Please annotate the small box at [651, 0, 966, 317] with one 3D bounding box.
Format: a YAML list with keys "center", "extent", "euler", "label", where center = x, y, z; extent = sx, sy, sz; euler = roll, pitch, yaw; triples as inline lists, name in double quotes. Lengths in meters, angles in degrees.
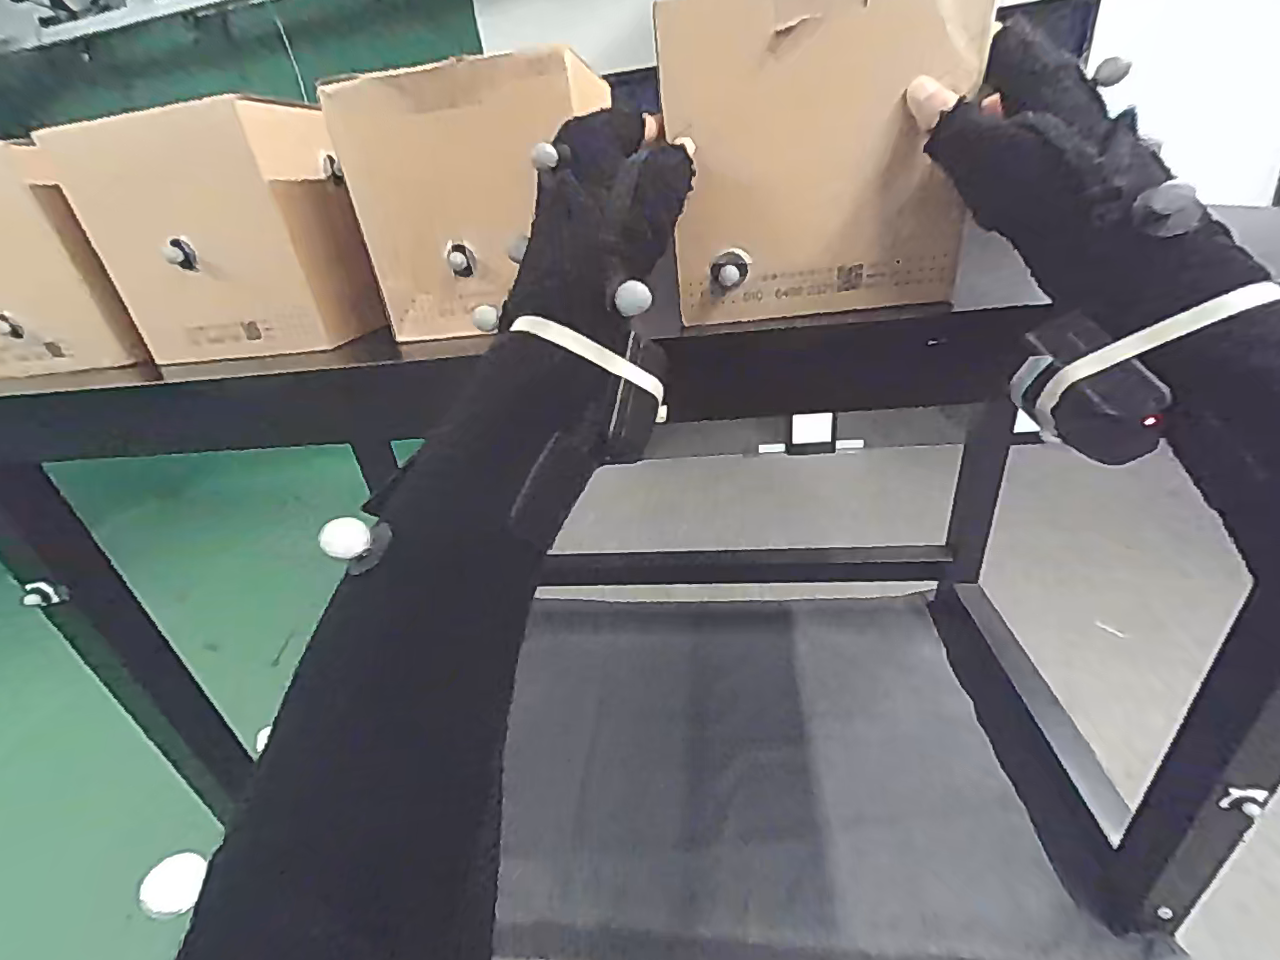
- center: [0.107, -0.217, 0.384]
  extent: [0.168, 0.176, 0.179]
  euler: [-3, 27, 9]
  label: "small box"
